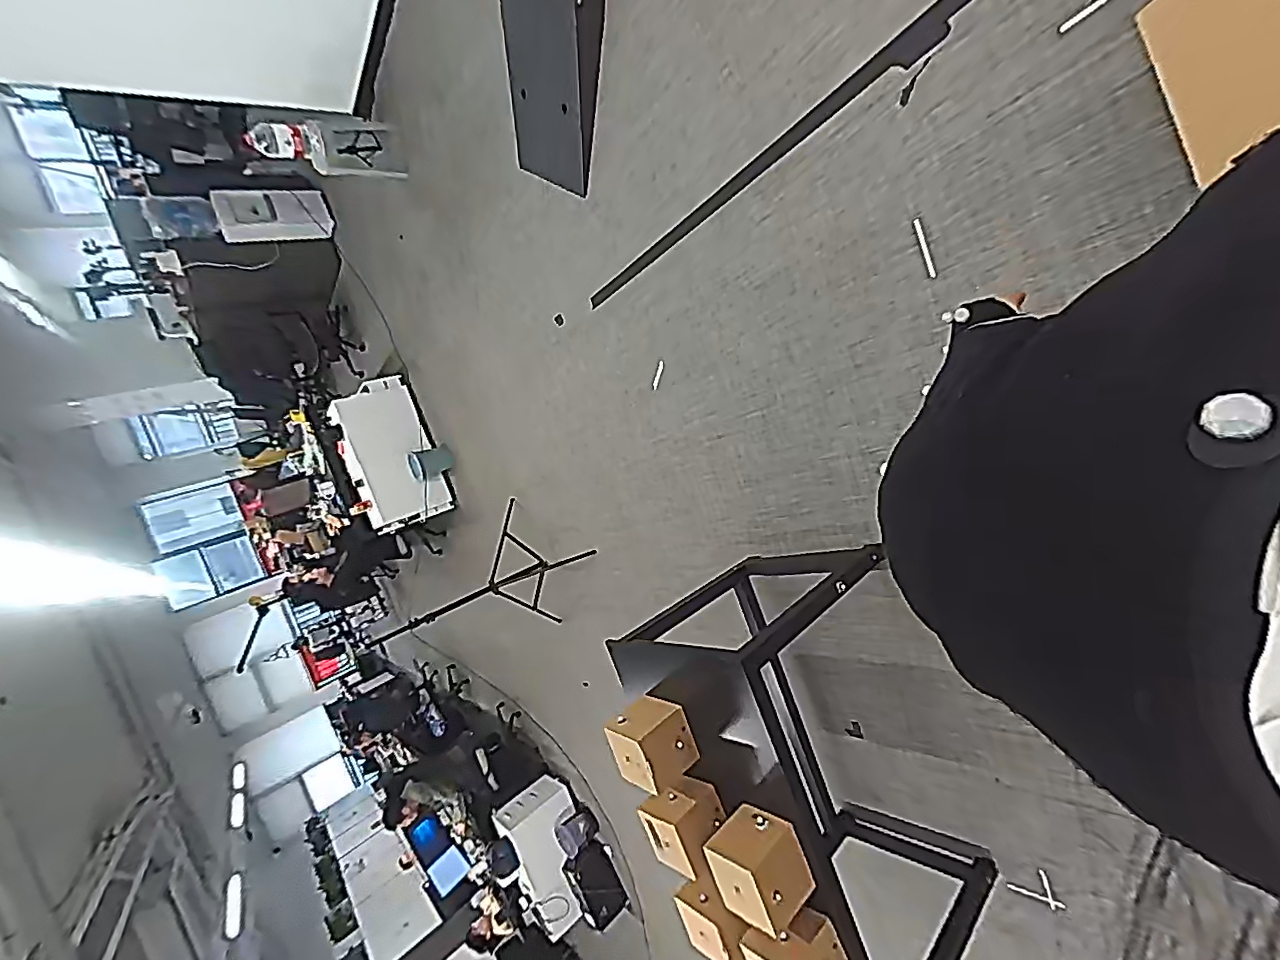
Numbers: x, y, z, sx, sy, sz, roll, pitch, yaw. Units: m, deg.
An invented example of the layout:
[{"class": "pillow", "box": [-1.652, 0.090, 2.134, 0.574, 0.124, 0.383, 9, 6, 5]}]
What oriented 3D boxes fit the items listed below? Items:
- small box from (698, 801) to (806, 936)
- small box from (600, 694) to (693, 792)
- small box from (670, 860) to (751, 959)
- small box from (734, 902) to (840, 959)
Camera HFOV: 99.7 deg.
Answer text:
[{"class": "small box", "box": [0.280, 0.941, 1.329, 0.168, 0.176, 0.179, -18, 94, 53]}, {"class": "small box", "box": [0.020, 0.736, 1.538, 0.179, 0.176, 0.168, -12, 99, 53]}, {"class": "small box", "box": [0.221, 1.233, 1.552, 0.179, 0.176, 0.168, -14, 97, 52]}, {"class": "small box", "box": [0.374, 1.180, 1.335, 0.179, 0.176, 0.168, -26, 88, 53]}]
